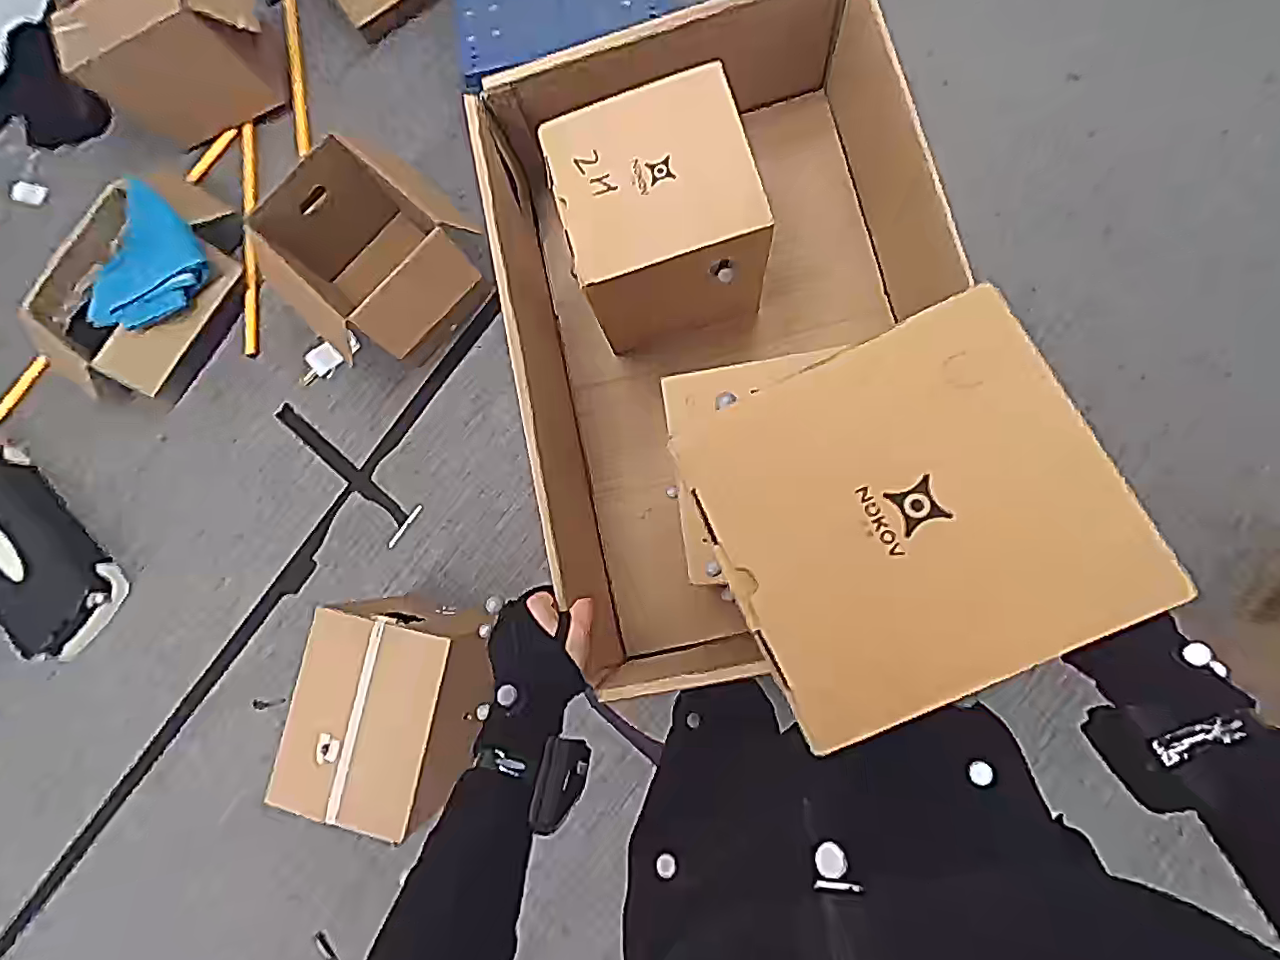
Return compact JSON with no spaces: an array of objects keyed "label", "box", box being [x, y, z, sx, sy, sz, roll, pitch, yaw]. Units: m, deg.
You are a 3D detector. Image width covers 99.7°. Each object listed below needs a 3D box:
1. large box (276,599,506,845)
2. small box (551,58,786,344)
[{"label":"large box","box":[-0.536,0.509,1.235,0.320,0.320,0.408,10,84,10]},{"label":"small box","box":[0.030,-0.261,0.547,0.179,0.176,0.168,-15,81,5]}]
